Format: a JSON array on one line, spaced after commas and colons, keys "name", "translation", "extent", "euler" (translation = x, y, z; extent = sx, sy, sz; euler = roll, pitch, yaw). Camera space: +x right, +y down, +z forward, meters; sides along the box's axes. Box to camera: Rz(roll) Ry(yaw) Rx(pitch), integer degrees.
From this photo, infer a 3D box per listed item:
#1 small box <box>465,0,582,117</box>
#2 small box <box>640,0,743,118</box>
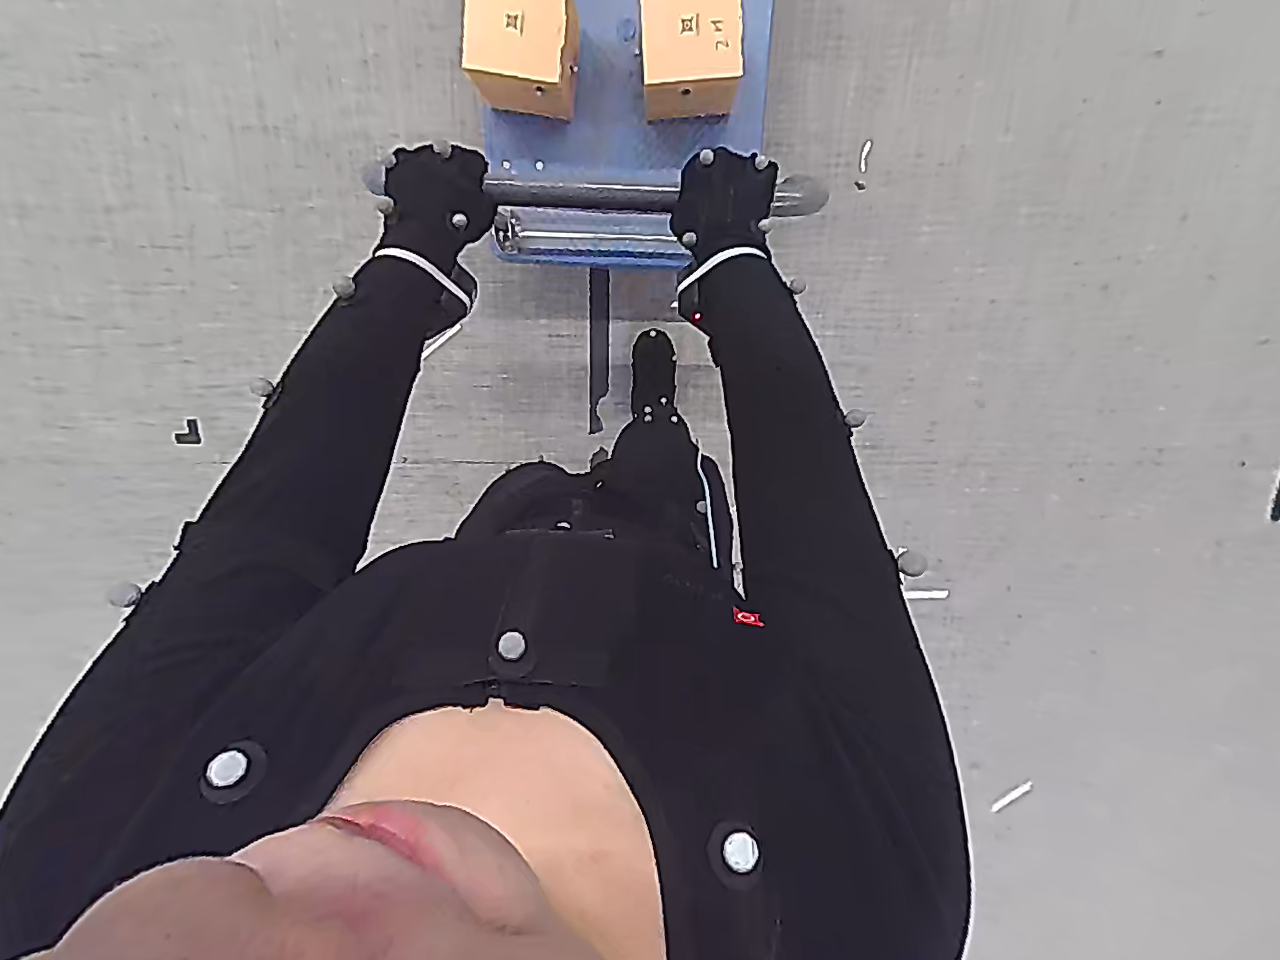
[{"name": "small box", "translation": [-0.212, -0.812, 1.015], "extent": [0.179, 0.176, 0.168], "euler": [8, 105, -2]}, {"name": "small box", "translation": [0.093, -0.802, 1.011], "extent": [0.179, 0.176, 0.168], "euler": [-3, 105, 2]}]
